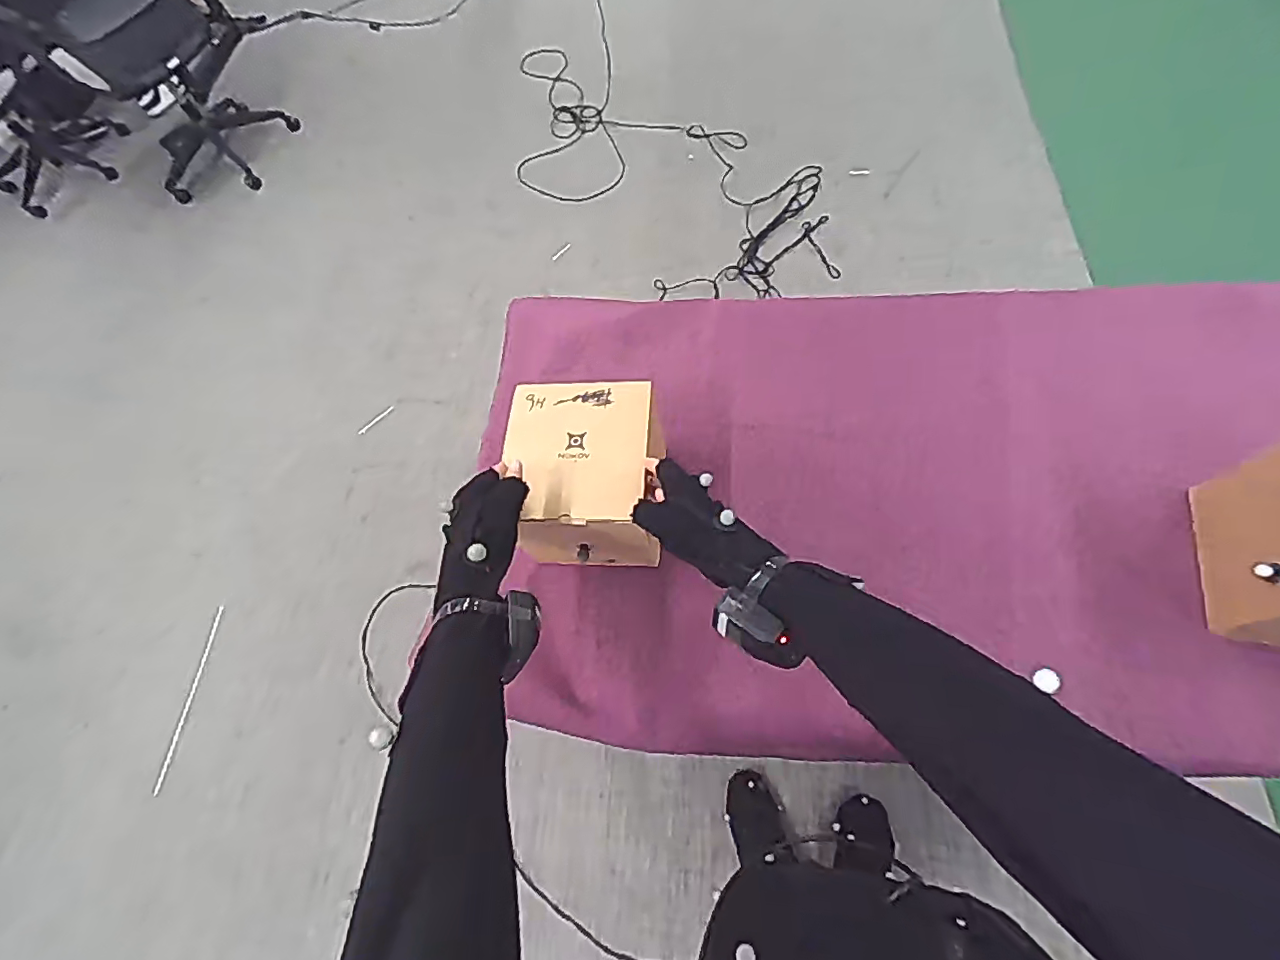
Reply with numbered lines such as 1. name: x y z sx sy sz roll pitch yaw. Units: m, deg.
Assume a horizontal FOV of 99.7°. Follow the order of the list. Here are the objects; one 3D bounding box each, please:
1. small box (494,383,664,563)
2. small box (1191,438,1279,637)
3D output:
1. small box: -0.061 0.000 0.671 0.168 0.176 0.179 0 66 9
2. small box: 0.696 0.064 0.521 0.168 0.176 0.179 10 67 13
